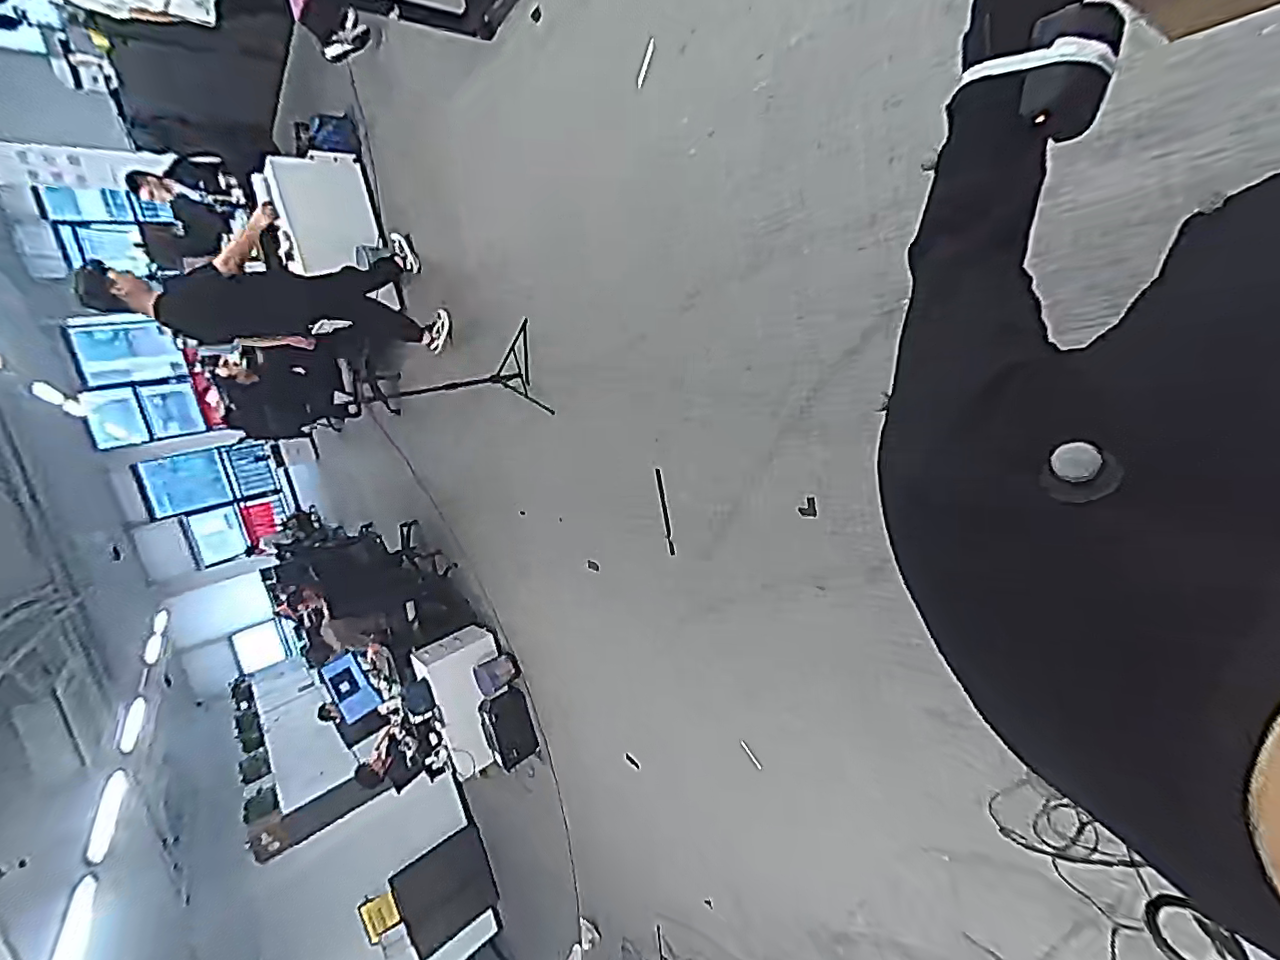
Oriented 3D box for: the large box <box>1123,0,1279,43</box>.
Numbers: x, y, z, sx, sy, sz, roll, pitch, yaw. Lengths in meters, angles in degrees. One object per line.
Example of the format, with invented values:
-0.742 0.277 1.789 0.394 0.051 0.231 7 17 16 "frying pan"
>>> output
0.513 -0.504 0.260 0.408 0.320 0.320 10 118 48 "large box"
